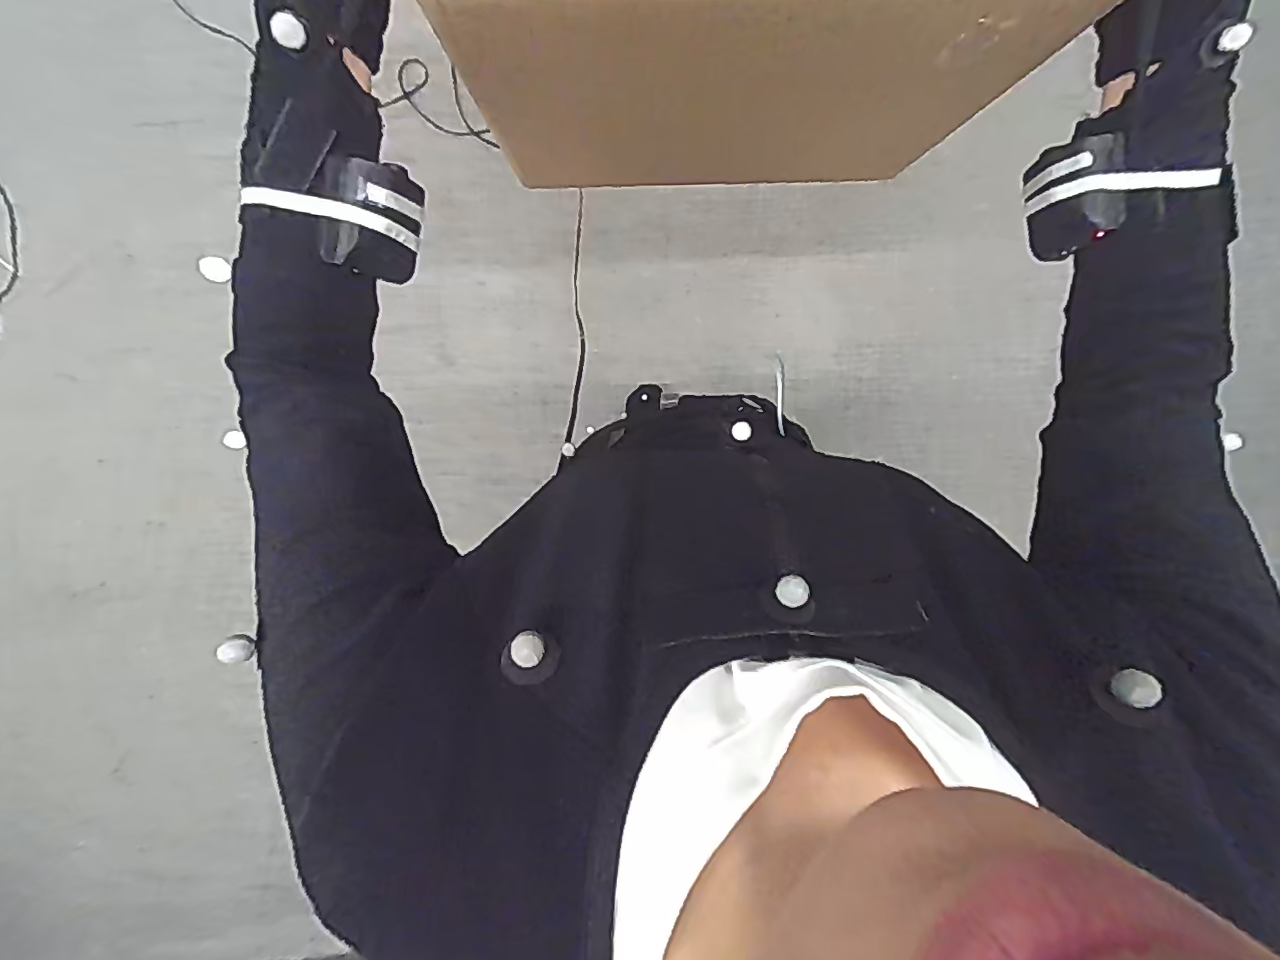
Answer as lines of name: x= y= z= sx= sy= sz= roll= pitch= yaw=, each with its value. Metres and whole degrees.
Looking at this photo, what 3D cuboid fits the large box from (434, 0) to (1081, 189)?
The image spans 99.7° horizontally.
large box: x=0.065 y=-0.448 z=0.415 sx=0.408 sy=0.320 sz=0.320 roll=-3 pitch=101 yaw=-1
